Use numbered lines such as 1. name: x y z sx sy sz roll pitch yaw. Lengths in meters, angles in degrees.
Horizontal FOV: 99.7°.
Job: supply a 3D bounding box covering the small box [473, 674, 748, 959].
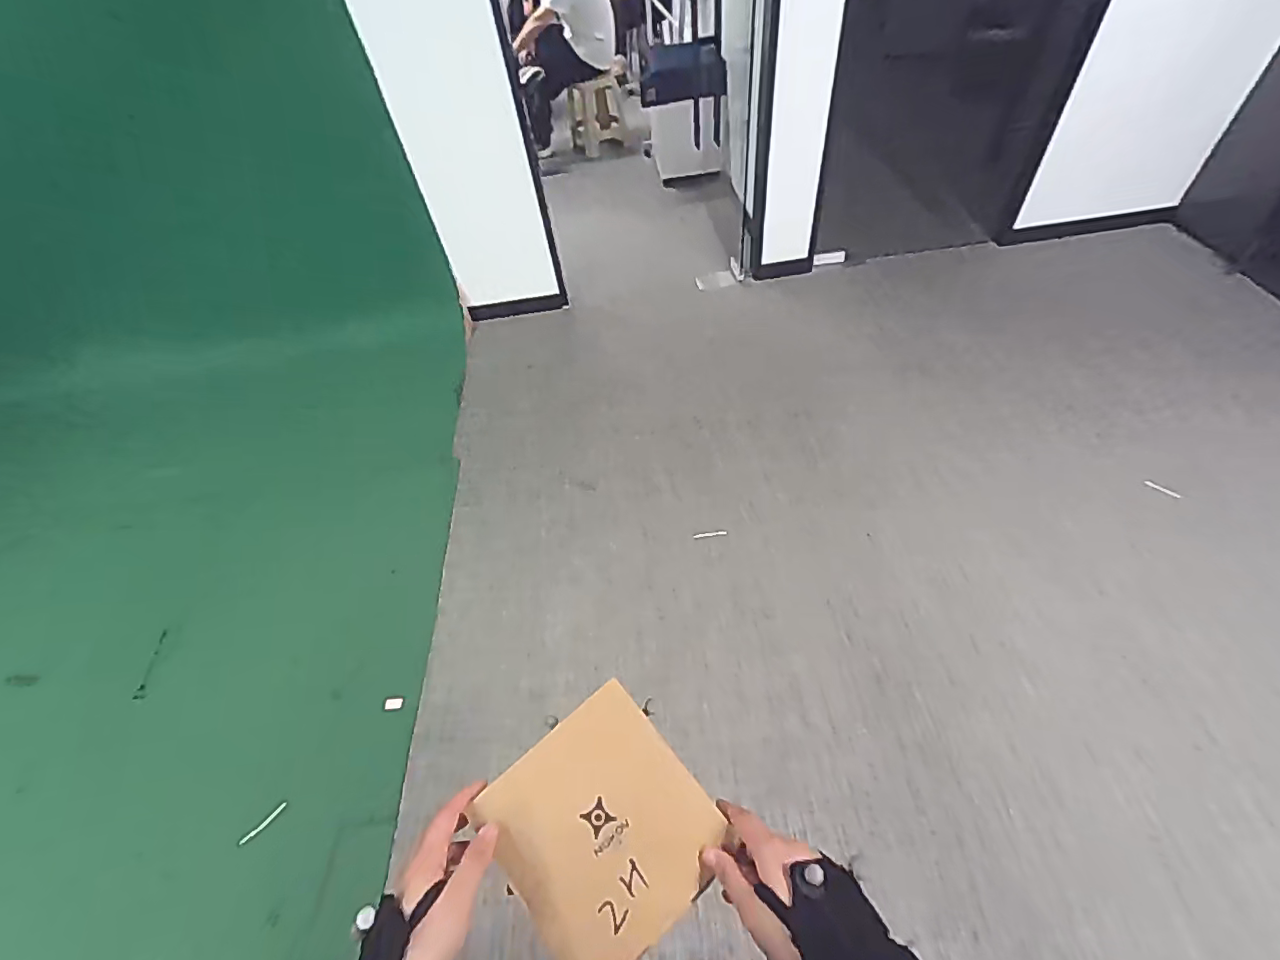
1. small box: -0.029 0.316 0.523 0.168 0.176 0.179 -37 74 -15
